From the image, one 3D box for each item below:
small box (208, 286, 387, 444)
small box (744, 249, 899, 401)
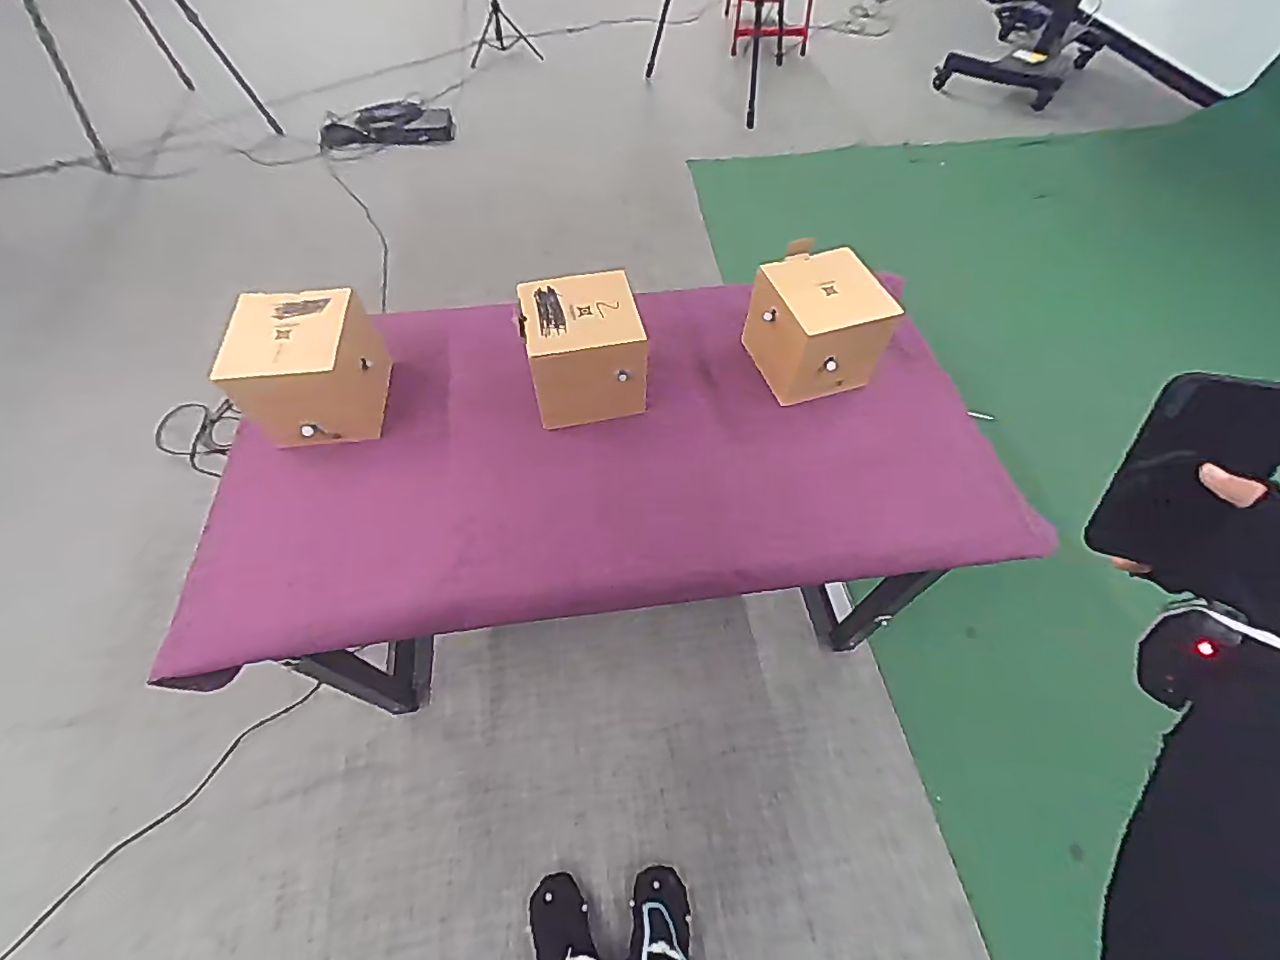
[{"bbox_3d":[-0.515,-0.177,0.848,0.168,0.176,0.179,-5,60,-4],"label":"small box"},{"bbox_3d":[0.292,-0.254,0.915,0.168,0.176,0.179,-15,59,-10],"label":"small box"}]
